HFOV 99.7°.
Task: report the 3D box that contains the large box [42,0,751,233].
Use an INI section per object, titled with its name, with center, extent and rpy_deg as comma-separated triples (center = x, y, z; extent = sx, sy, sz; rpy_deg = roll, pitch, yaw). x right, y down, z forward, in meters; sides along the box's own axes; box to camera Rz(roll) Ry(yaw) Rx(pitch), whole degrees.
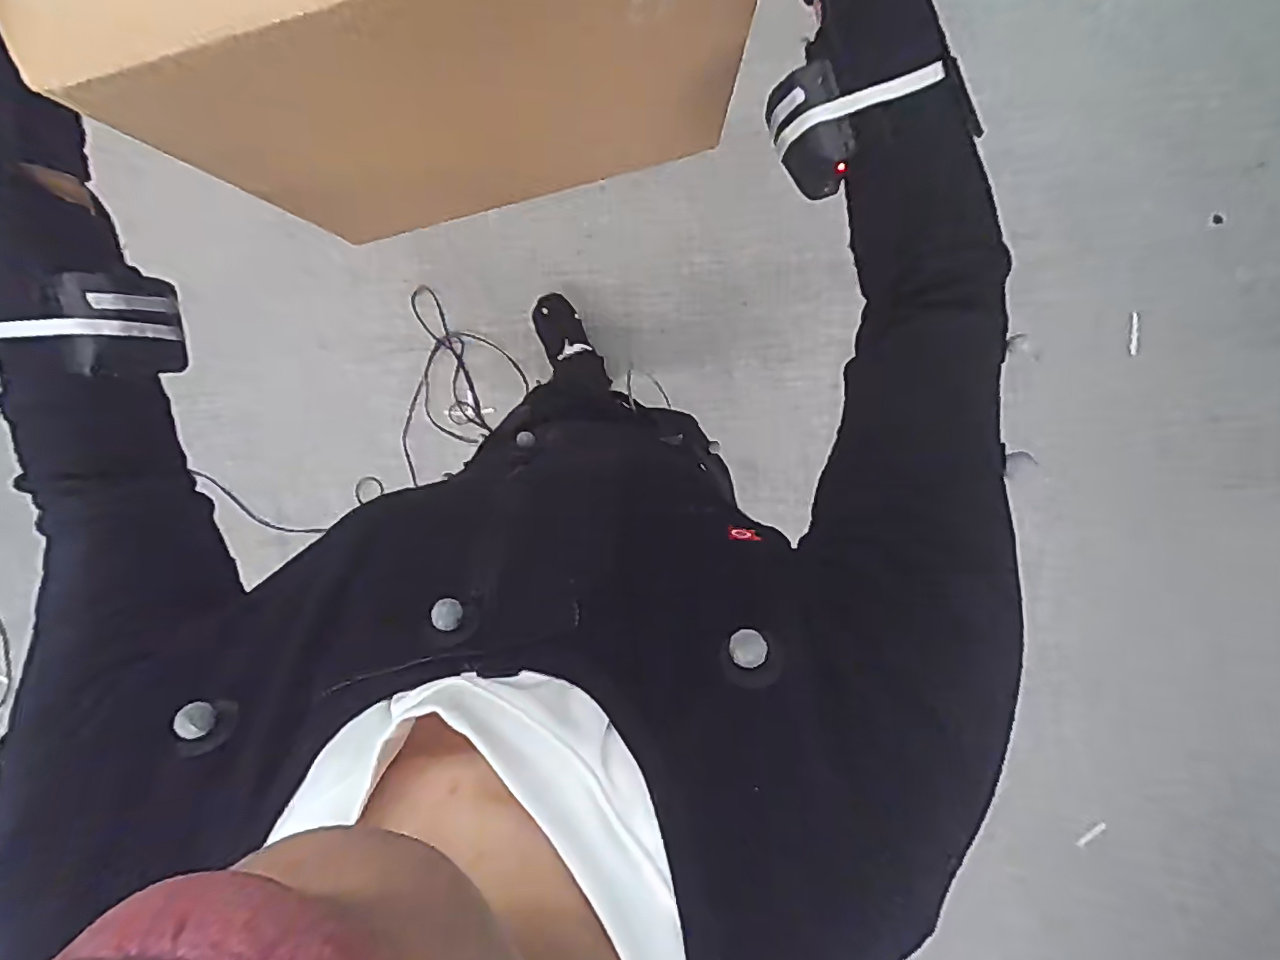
[large box]
center = -0.150, -0.432, 0.404
extent = 0.408, 0.320, 0.320
rpy_deg = -14, 100, 2
